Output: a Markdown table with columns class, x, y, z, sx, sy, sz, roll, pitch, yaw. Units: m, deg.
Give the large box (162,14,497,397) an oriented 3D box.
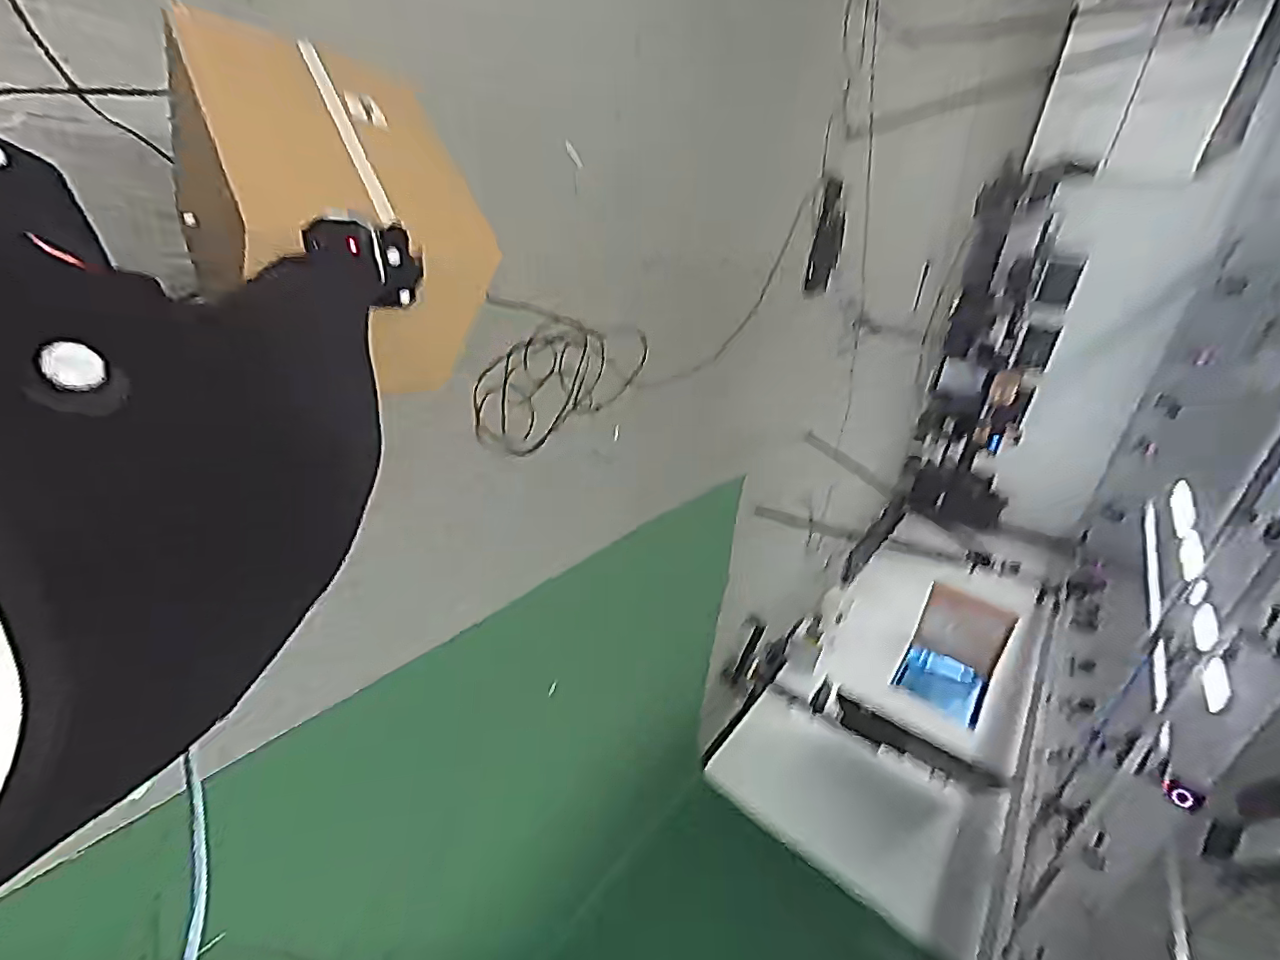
| class | x | y | z | sx | sy | sz | roll | pitch | yaw |
| --- | --- | --- | --- | --- | --- | --- | --- | --- | --- |
| large box | -0.485 | -0.389 | 0.845 | 0.320 | 0.408 | 0.320 | -14 | 157 | -43 |
